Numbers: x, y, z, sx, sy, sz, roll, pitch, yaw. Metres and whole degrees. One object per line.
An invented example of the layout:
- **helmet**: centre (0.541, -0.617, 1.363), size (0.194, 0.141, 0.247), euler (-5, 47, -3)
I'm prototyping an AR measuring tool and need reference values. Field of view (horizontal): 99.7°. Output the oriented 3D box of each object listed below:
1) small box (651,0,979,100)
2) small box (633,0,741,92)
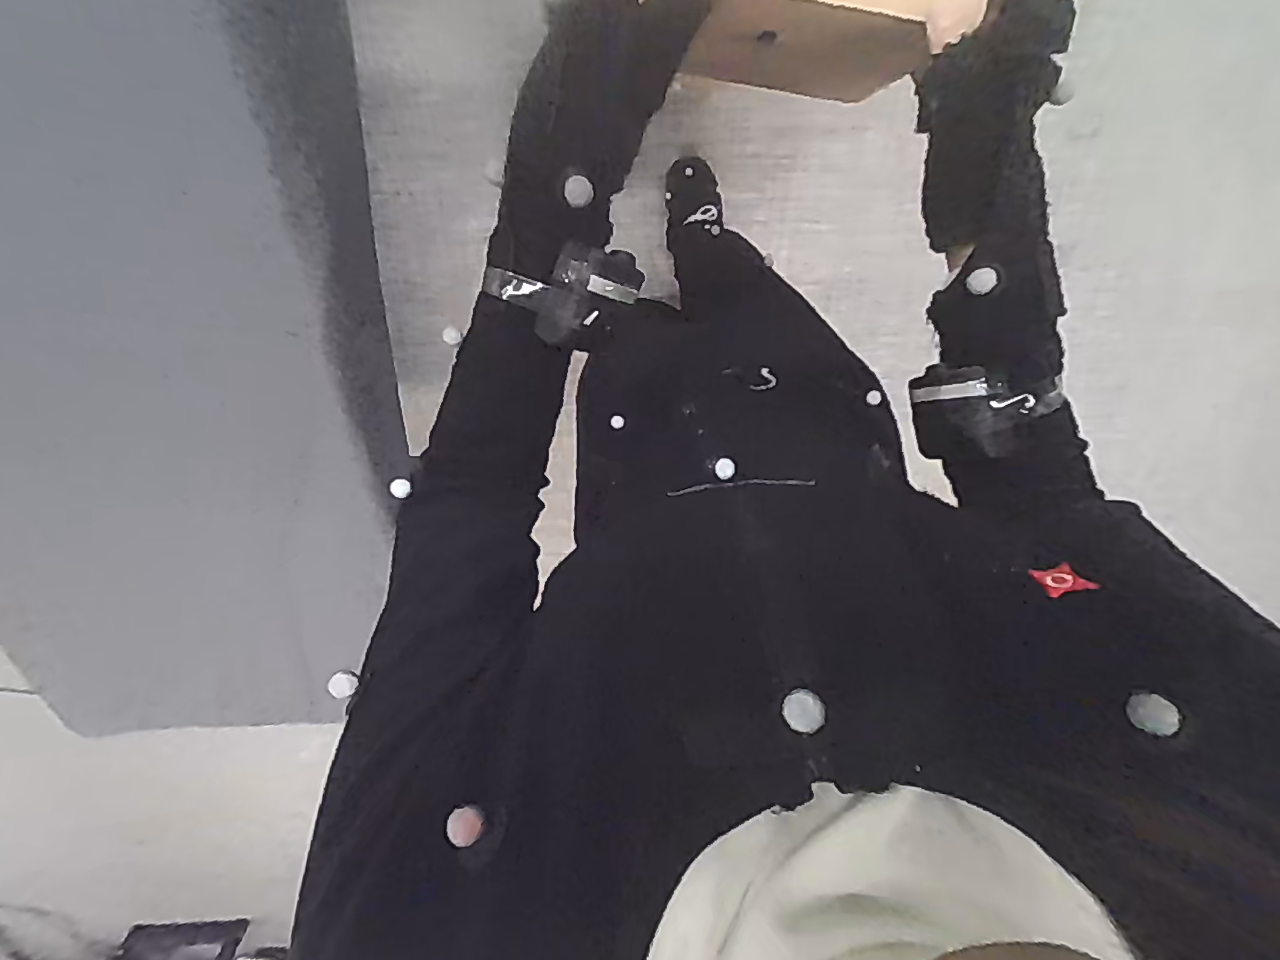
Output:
- **small box**: centre (0.105, -0.359, 0.329), size (0.179, 0.176, 0.168), euler (8, 113, -5)
- **small box**: centre (0.079, -0.712, 0.815), size (0.168, 0.176, 0.179), euler (6, 120, -3)
